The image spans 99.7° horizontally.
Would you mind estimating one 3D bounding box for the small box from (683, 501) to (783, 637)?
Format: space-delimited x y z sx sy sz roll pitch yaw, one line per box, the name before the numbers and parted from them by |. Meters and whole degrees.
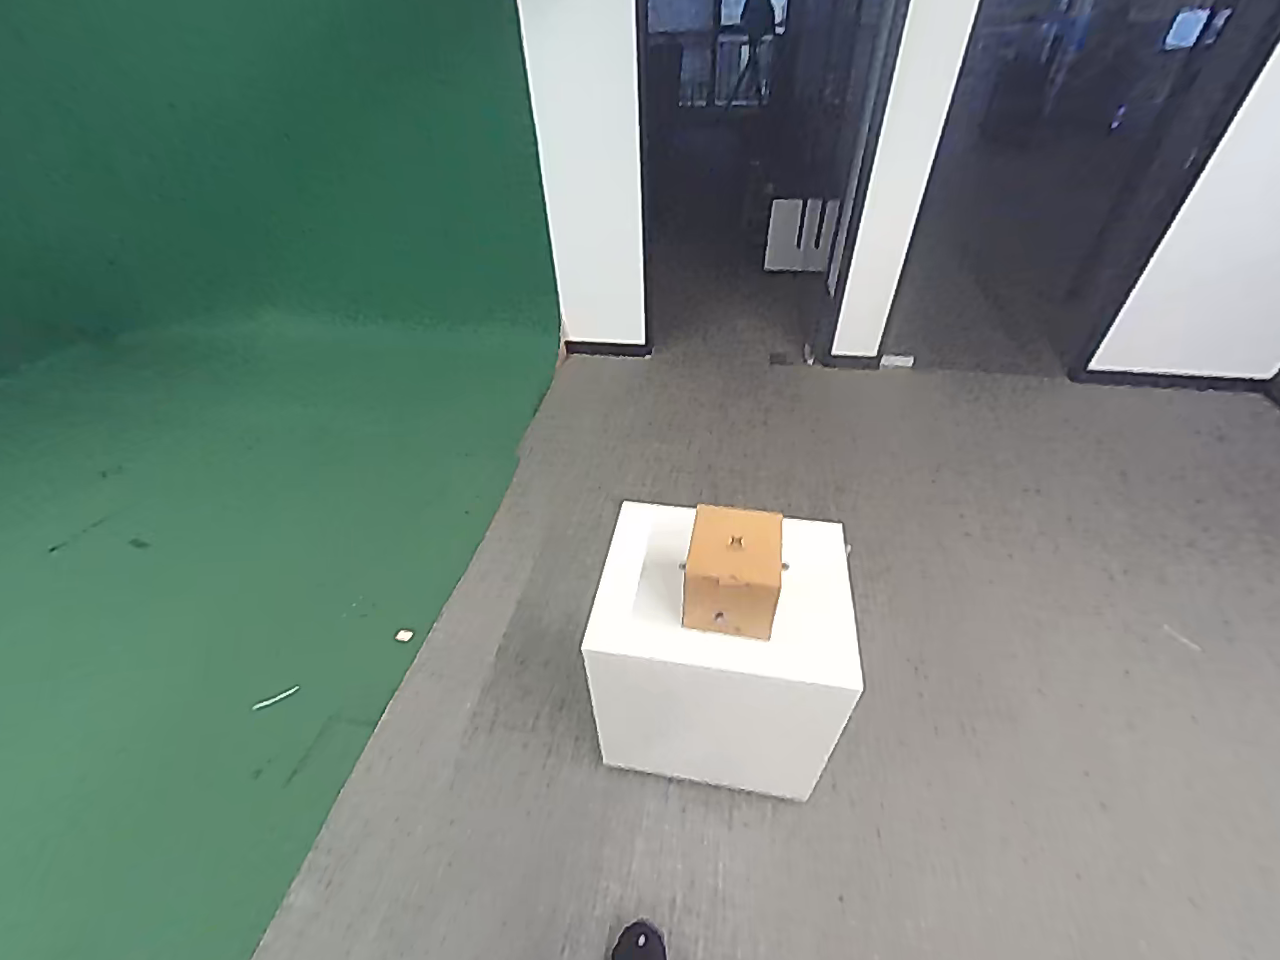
small box | 0.173 0.166 1.023 0.168 0.176 0.179 6 42 10
